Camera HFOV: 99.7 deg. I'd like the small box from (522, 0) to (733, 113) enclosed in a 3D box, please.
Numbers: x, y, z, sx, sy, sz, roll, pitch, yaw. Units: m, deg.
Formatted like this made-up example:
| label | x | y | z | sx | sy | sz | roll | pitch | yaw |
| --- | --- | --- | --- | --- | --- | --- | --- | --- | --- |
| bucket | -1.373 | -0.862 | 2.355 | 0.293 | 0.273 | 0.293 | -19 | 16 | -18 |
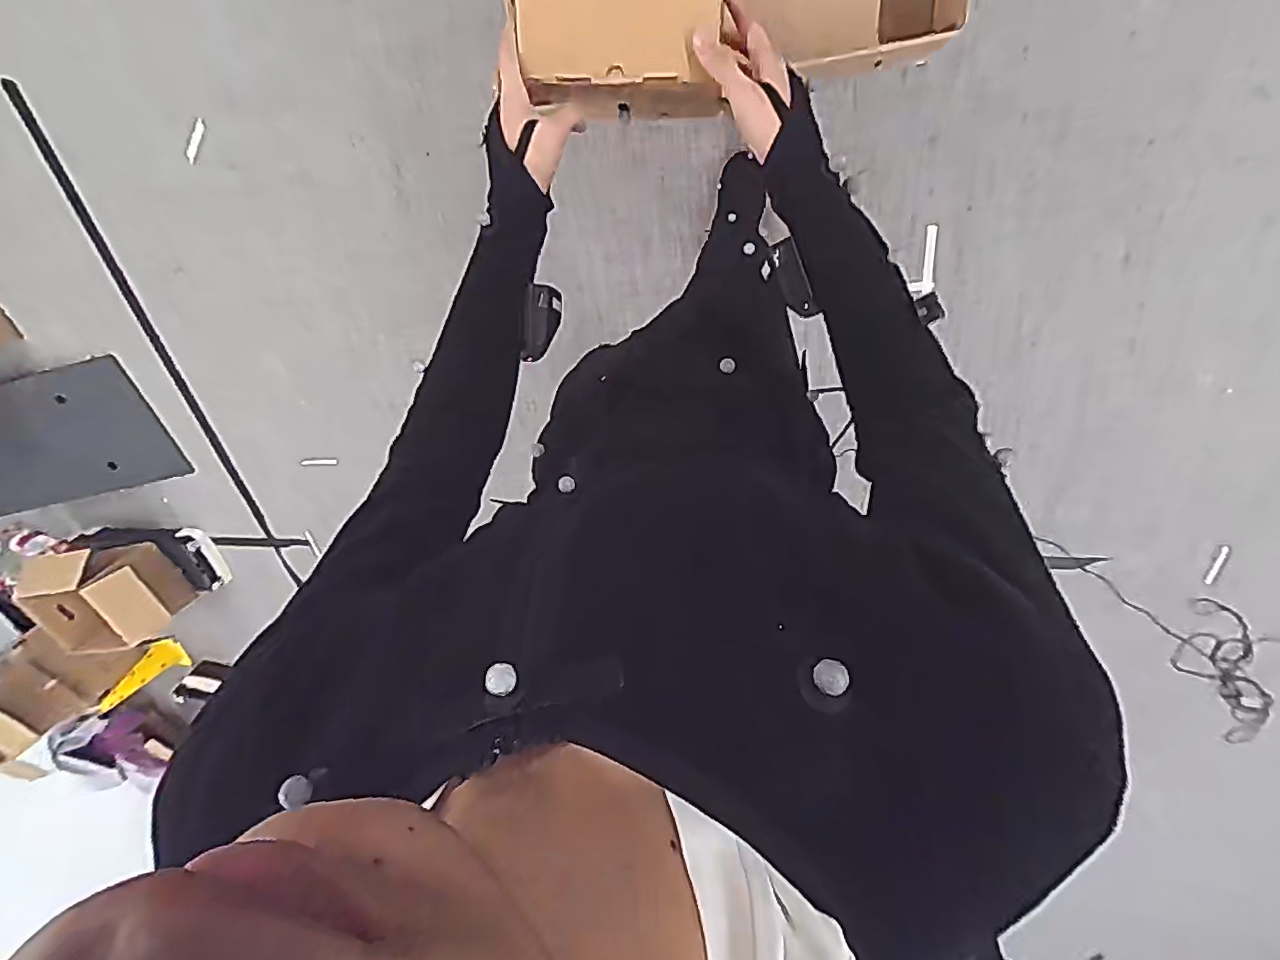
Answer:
| label | x | y | z | sx | sy | sz | roll | pitch | yaw |
| --- | --- | --- | --- | --- | --- | --- | --- | --- | --- |
| small box | -0.002 | -0.445 | 0.478 | 0.168 | 0.176 | 0.179 | 4 | 116 | 8 |
